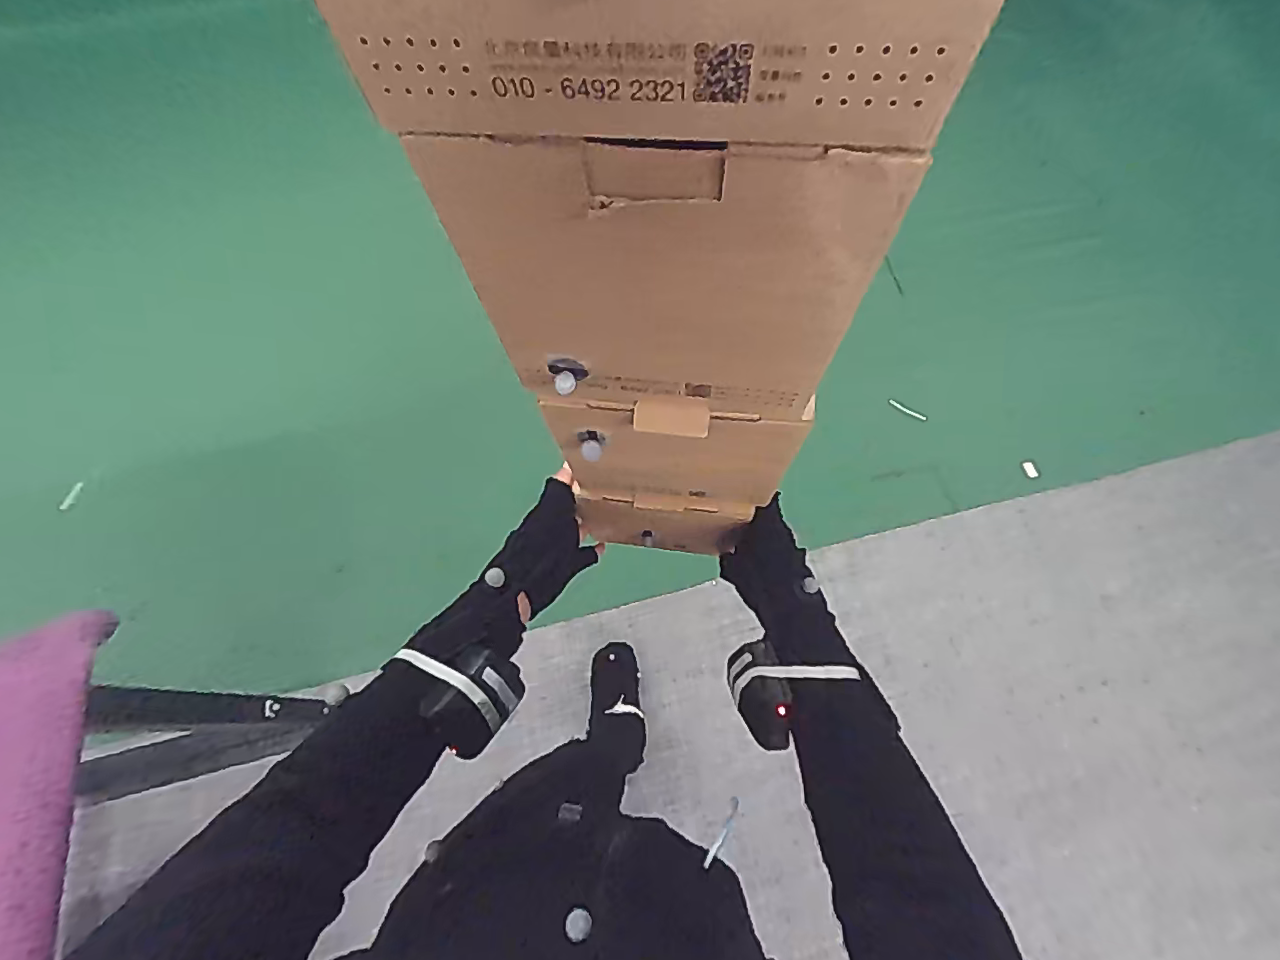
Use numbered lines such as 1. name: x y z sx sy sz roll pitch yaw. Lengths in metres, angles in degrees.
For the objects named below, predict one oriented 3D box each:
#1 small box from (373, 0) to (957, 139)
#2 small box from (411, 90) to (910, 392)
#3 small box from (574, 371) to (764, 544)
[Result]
1. small box: 0.005 -0.217 0.120 0.168 0.176 0.179 5 71 5
2. small box: 0.018 -0.162 0.274 0.168 0.176 0.179 6 70 5
3. small box: 0.035 -0.042 0.581 0.168 0.176 0.179 7 73 5
